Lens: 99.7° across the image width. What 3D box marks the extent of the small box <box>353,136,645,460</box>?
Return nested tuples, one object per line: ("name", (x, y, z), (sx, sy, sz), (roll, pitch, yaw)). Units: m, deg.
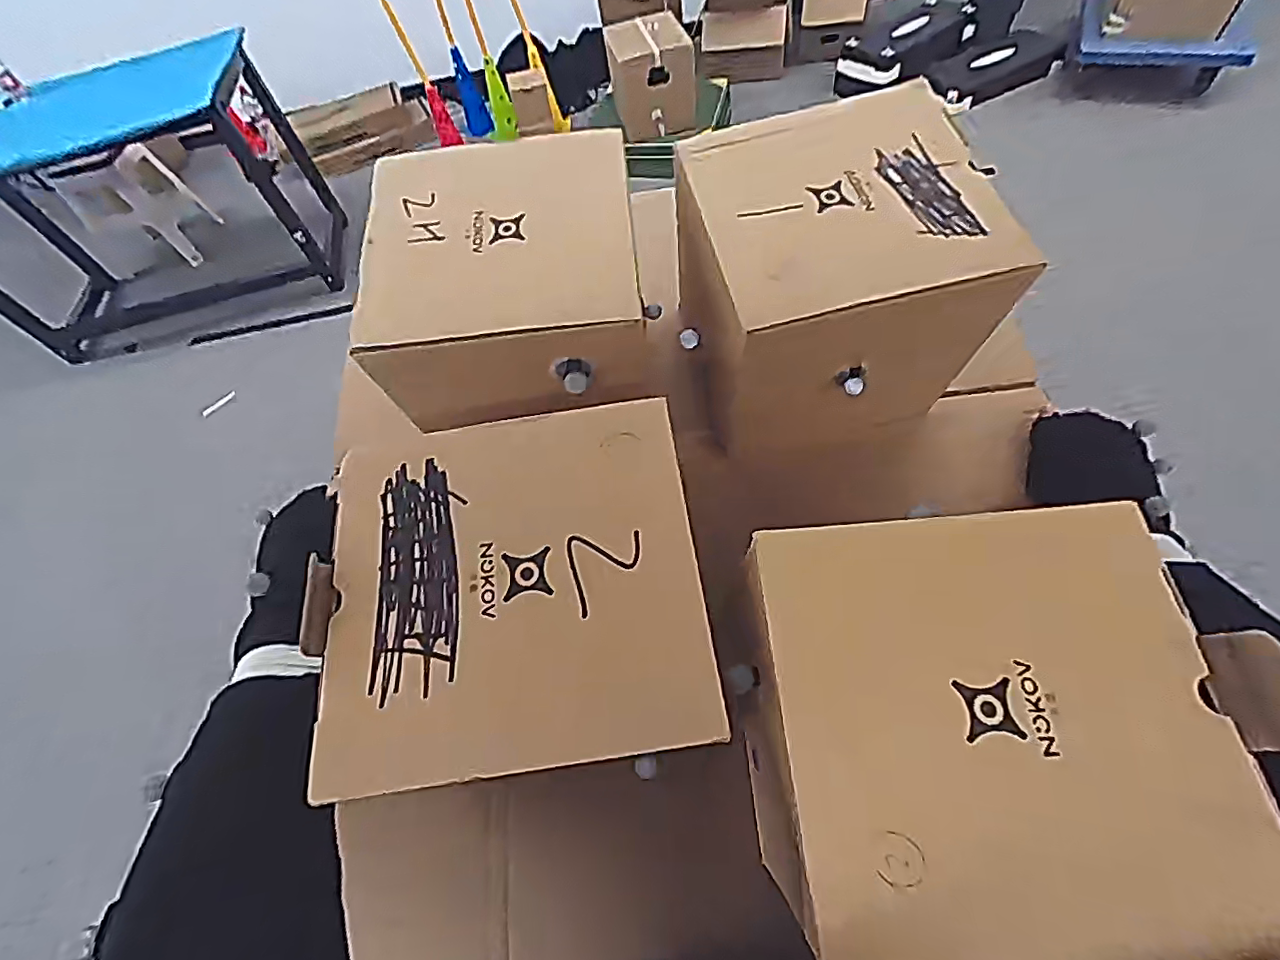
("small box", (-0.089, -0.129, 0.429), (0.179, 0.176, 0.168), (-7, 67, 3))
